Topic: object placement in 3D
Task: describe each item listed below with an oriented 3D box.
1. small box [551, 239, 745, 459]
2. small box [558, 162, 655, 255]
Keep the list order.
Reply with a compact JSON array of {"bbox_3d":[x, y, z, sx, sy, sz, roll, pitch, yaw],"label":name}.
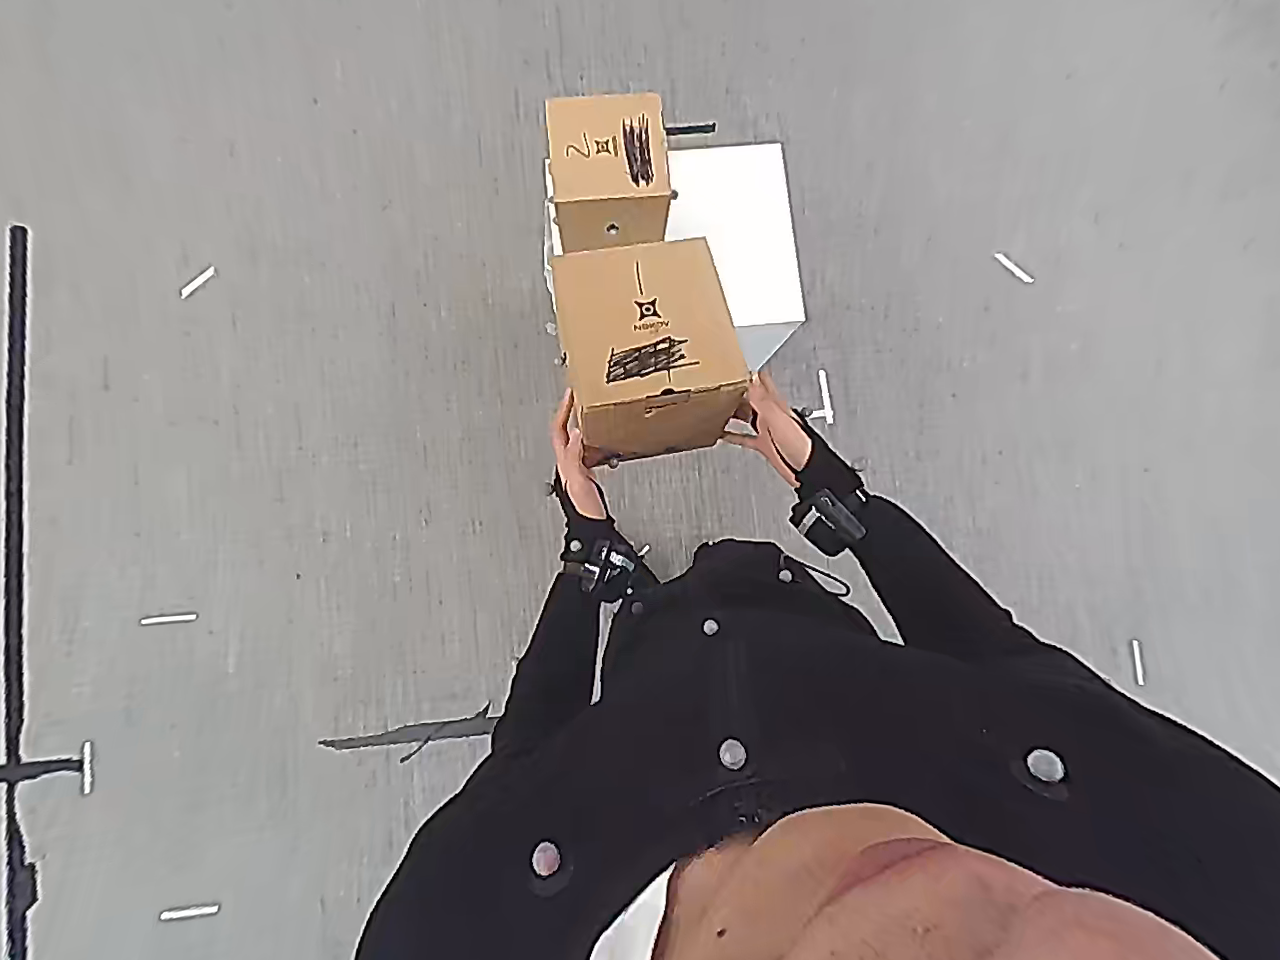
[{"bbox_3d":[0.000,-0.133,0.605,0.168,0.176,0.179,-10,73,-8],"label":"small box"},{"bbox_3d":[-0.063,-0.470,1.036,0.168,0.176,0.179,-5,85,-4],"label":"small box"}]
